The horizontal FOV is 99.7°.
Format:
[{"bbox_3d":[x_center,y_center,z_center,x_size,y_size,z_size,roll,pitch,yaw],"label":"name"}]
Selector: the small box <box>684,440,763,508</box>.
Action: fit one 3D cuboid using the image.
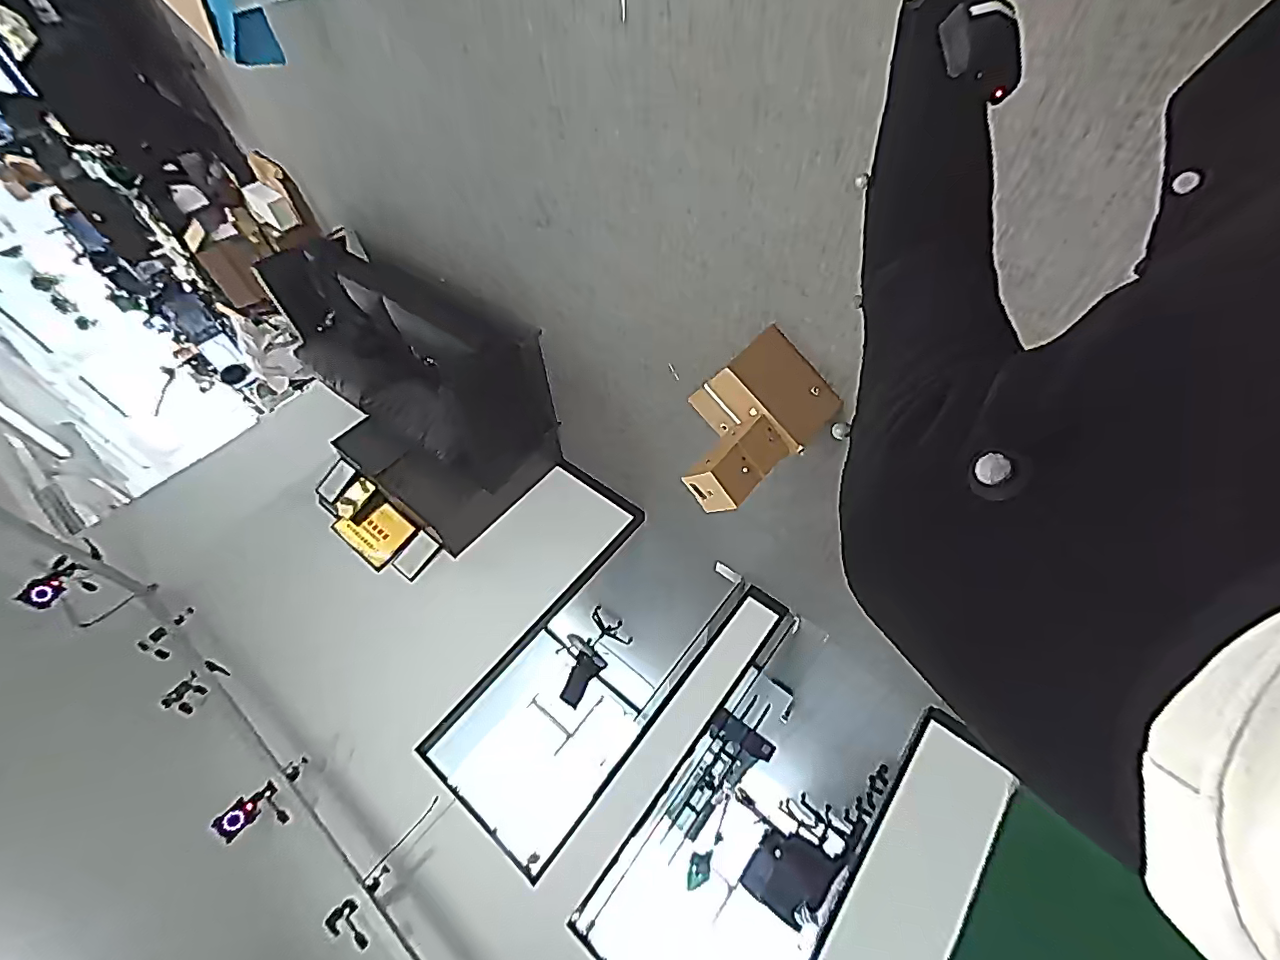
[{"bbox_3d":[0.297,-0.020,1.907,0.168,0.176,0.179,51,152,-13],"label":"small box"}]
